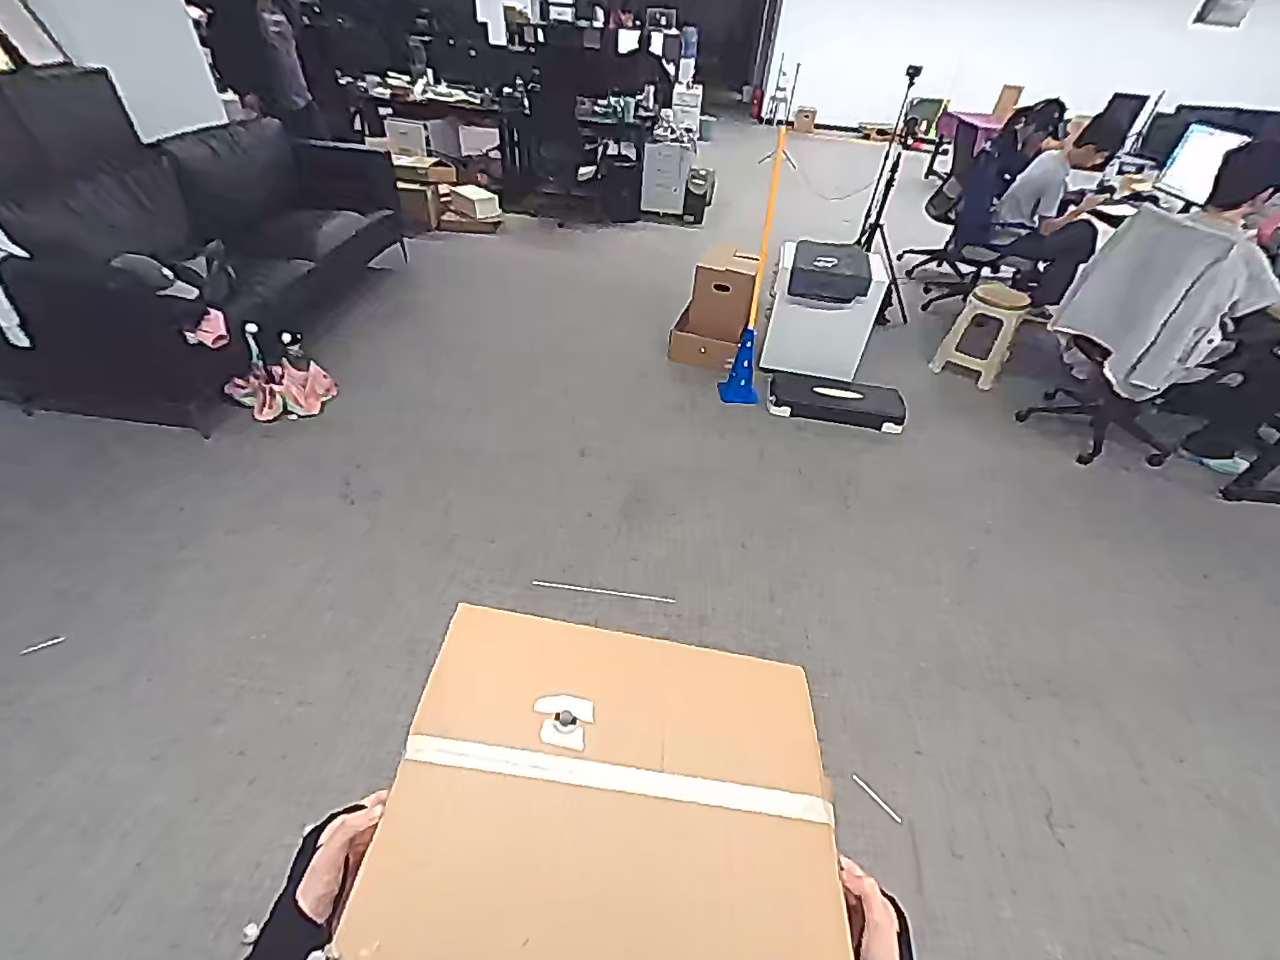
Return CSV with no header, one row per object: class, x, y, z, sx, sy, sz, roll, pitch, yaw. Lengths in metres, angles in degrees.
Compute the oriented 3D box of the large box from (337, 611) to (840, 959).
large box,-0.047,0.391,0.618,0.408,0.320,0.320,12,42,-5
